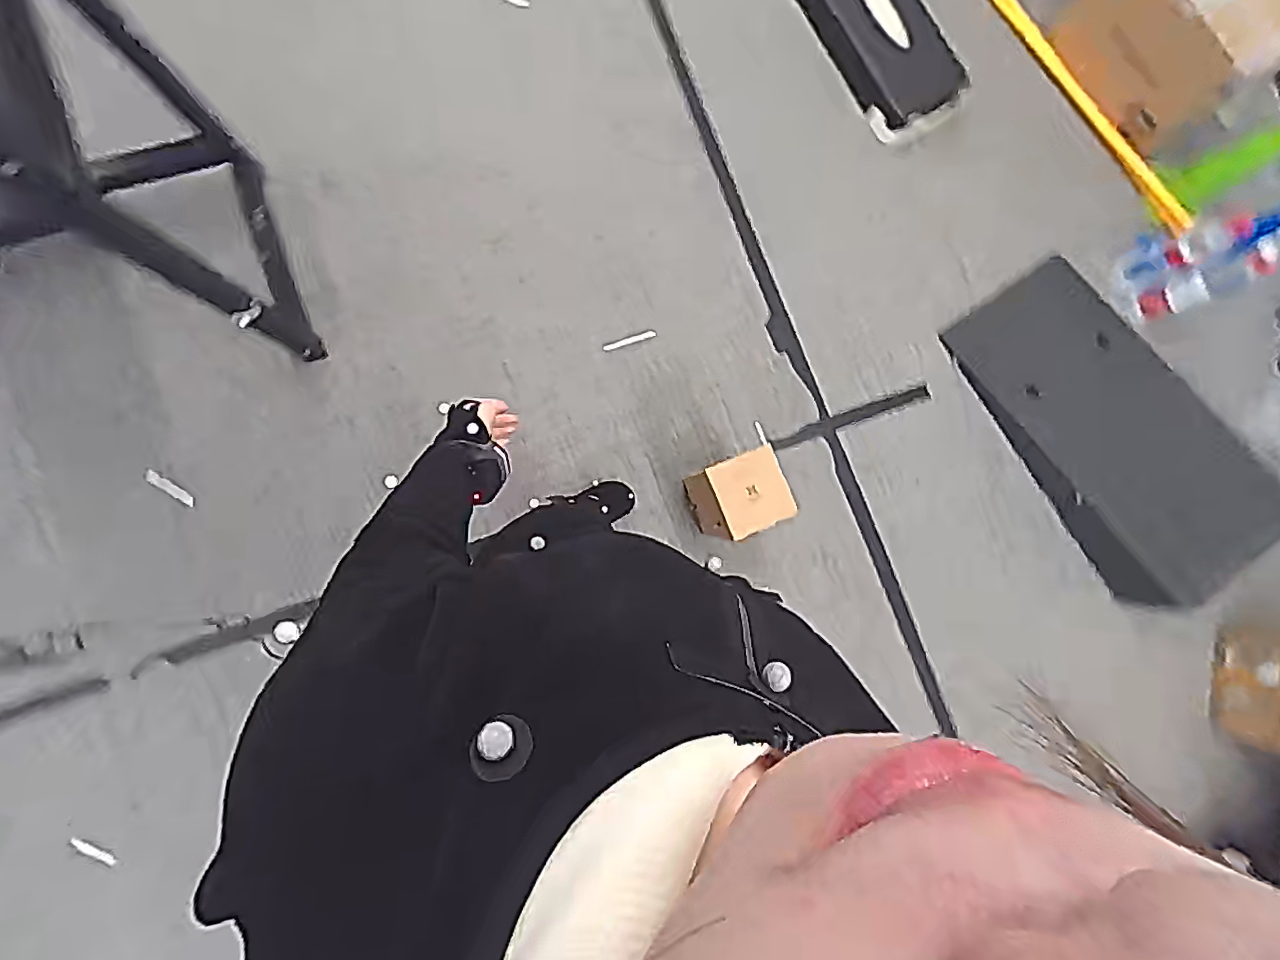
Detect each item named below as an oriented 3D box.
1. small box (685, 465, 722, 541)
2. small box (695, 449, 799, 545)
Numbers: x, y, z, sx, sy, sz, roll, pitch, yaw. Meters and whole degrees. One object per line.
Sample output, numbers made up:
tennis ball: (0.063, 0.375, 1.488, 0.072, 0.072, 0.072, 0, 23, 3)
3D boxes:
small box: (0.233, 0.051, 1.447, 0.168, 0.176, 0.179, -20, 89, -6)
small box: (0.245, 0.041, 1.284, 0.168, 0.176, 0.179, -21, 88, -7)
